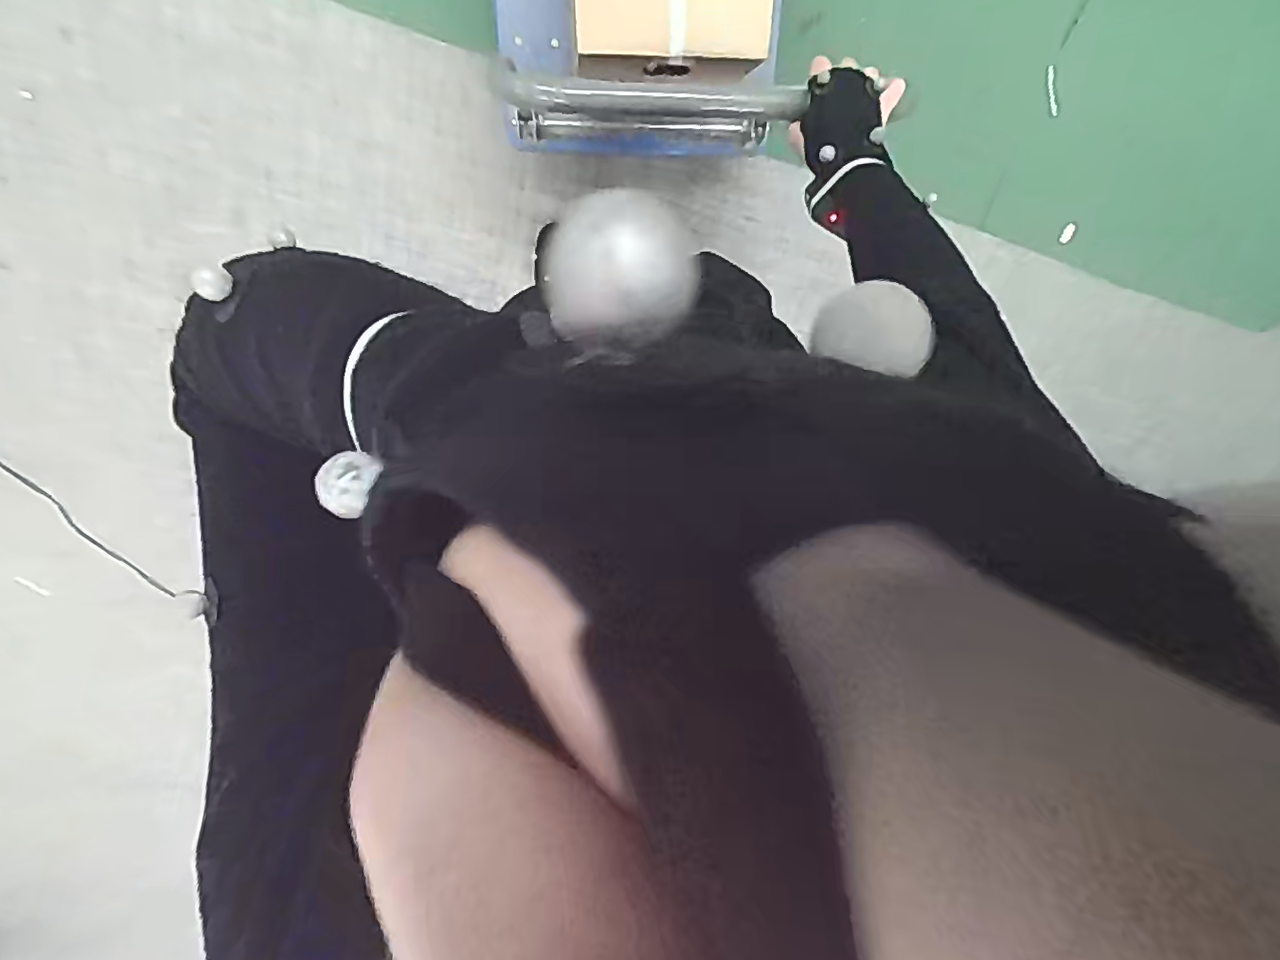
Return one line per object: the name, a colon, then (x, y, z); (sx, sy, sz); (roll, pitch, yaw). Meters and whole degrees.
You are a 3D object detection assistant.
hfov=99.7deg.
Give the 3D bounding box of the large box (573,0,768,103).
large box: (0.035, -0.921, 0.933); (0.320, 0.320, 0.408); (-3, 115, -6)
